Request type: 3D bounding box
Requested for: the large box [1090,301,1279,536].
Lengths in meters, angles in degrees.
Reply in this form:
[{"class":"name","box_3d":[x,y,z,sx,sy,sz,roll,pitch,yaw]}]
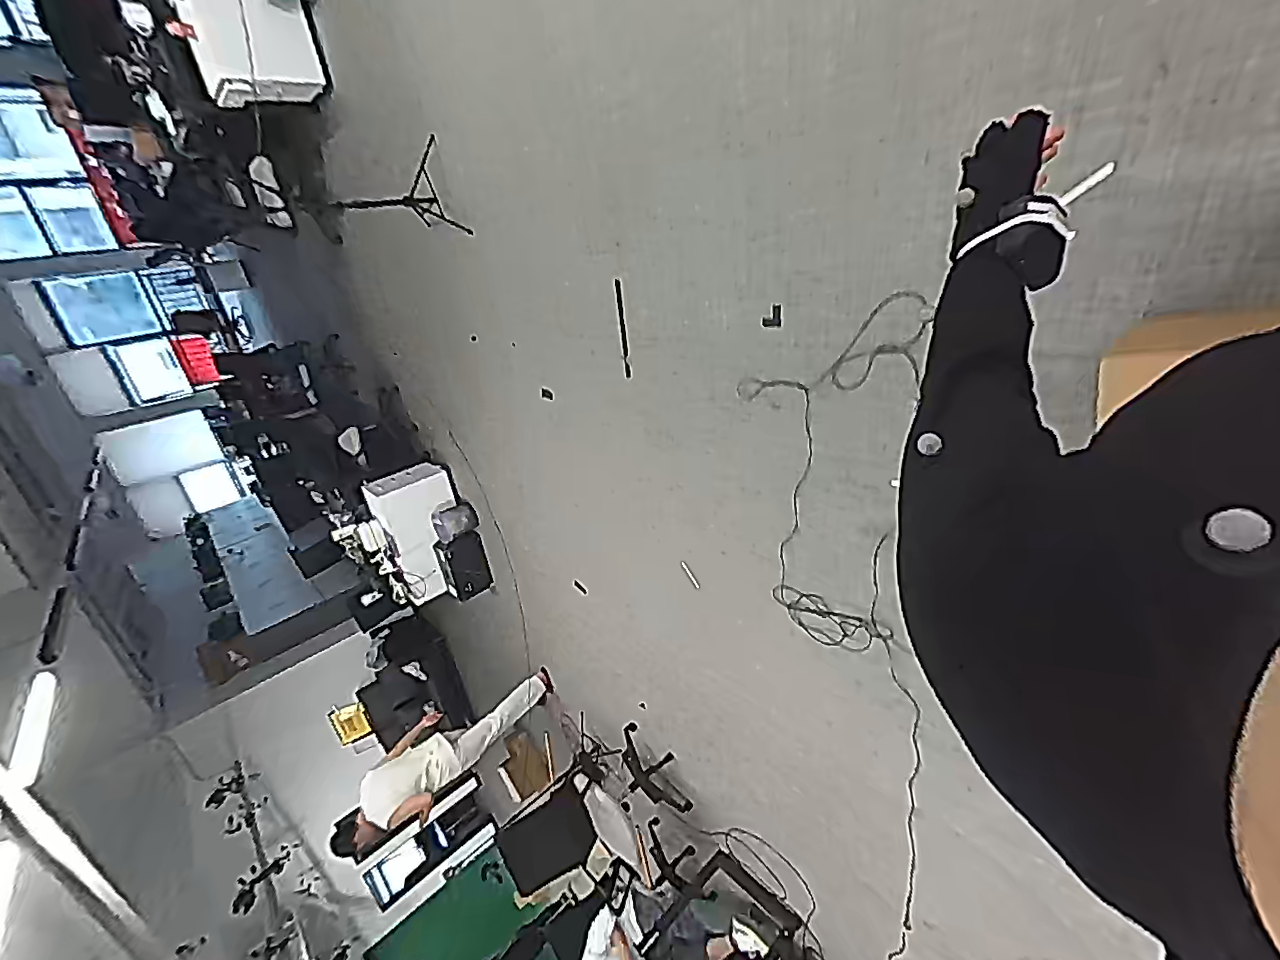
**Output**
[{"class":"large box","box_3d":[1.042,-0.114,0.894,0.408,0.320,0.320,10,119,49]}]
